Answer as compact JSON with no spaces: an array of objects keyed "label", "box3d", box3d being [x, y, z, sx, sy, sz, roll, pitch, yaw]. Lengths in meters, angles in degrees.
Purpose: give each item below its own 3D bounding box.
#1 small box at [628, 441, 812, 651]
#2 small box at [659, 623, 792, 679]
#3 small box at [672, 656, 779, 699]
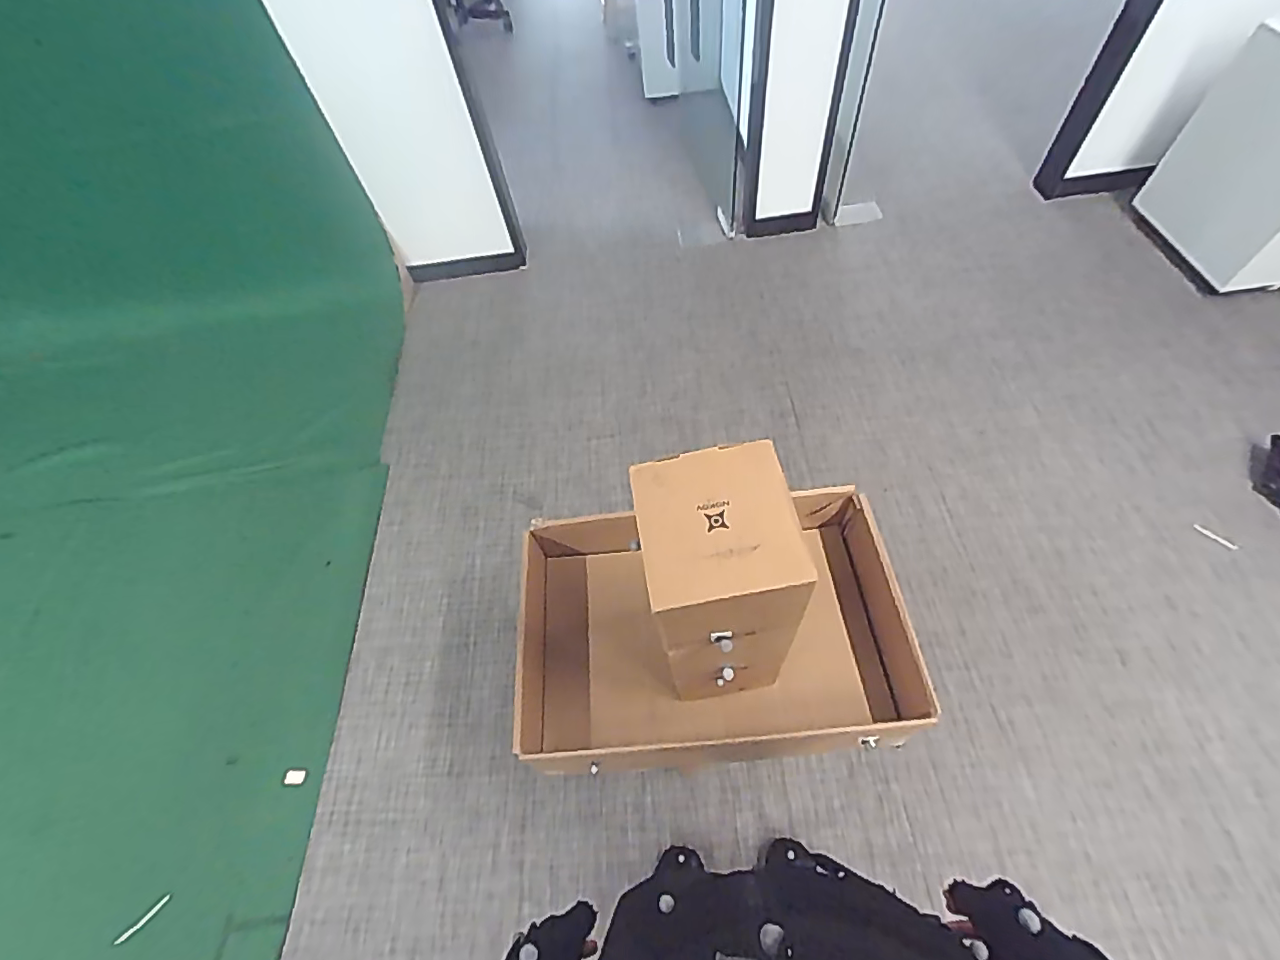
[{"label":"small box","box3d":[0.086,0.083,0.639,0.168,0.176,0.179,-12,58,2]},{"label":"small box","box3d":[0.104,0.168,0.774,0.168,0.176,0.179,-11,58,1]},{"label":"small box","box3d":[0.126,0.251,0.914,0.168,0.176,0.179,-12,56,2]}]
